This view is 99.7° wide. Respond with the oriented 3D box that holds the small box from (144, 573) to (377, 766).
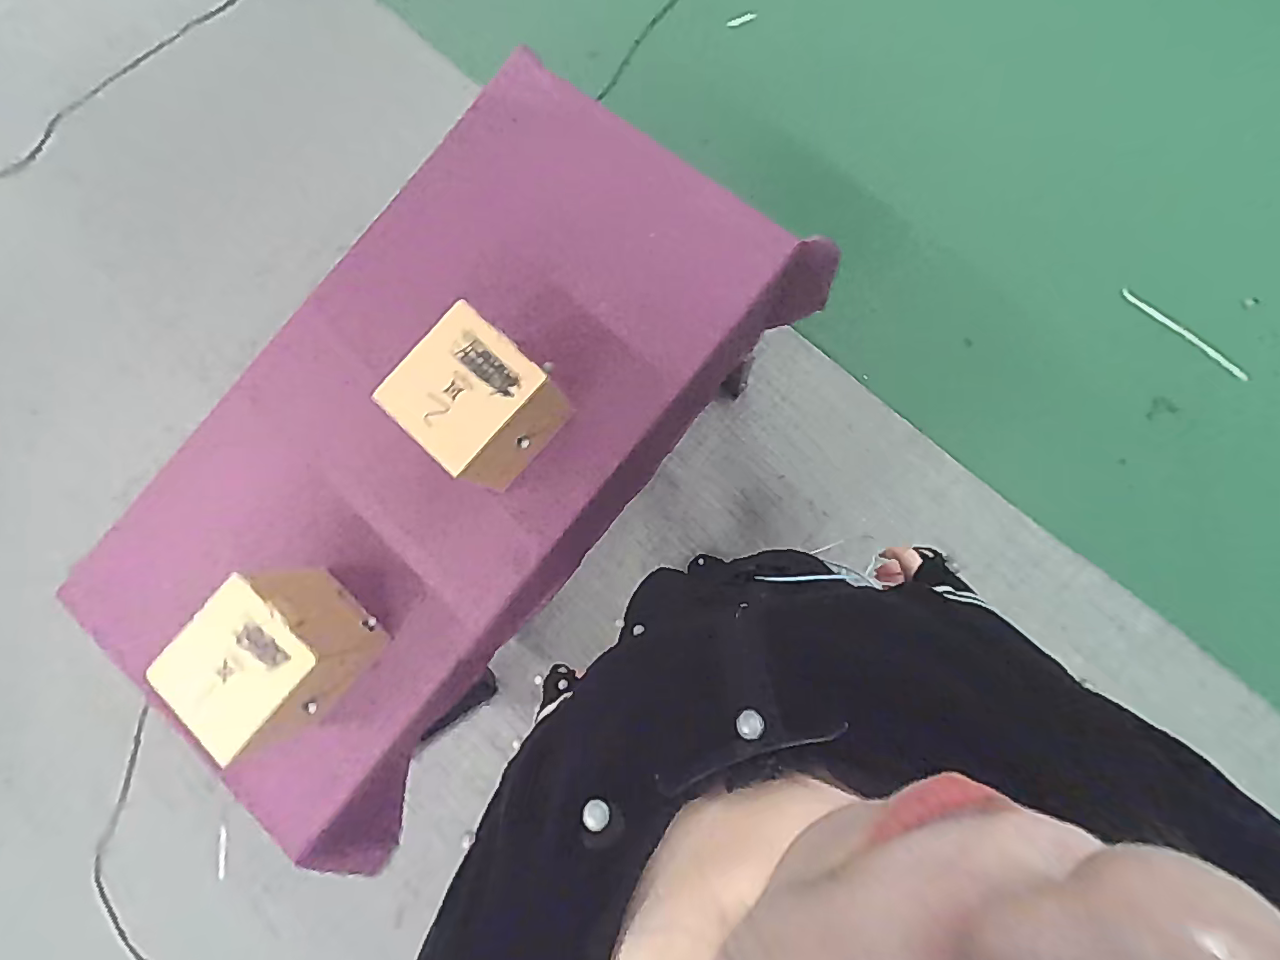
[{"bbox_3d":[-0.504,0.243,0.751,0.168,0.176,0.179,40,88,10],"label":"small box"}]
